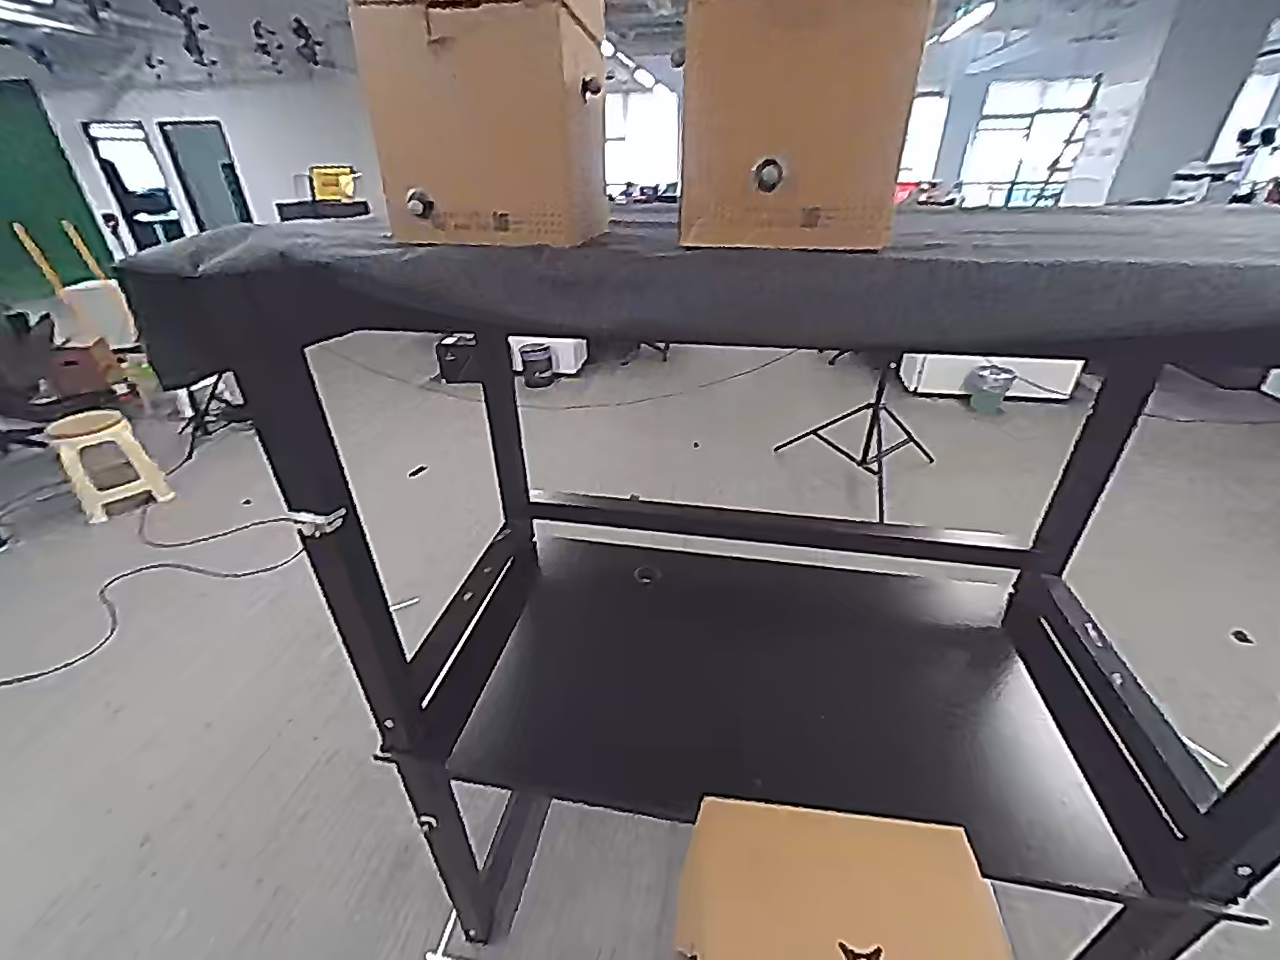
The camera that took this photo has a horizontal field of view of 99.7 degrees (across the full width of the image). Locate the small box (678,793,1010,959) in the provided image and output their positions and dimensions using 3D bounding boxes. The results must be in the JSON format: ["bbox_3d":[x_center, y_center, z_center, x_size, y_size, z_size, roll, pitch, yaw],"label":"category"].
[{"bbox_3d":[0.110,0.326,0.324,0.168,0.176,0.179,5,37,3],"label":"small box"}]

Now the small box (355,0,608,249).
[{"bbox_3d":[-0.124,-0.315,0.508,0.168,0.176,0.179,5,28,7],"label":"small box"}]

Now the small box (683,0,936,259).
[{"bbox_3d":[0.129,-0.296,0.473,0.168,0.176,0.179,5,29,9],"label":"small box"}]
